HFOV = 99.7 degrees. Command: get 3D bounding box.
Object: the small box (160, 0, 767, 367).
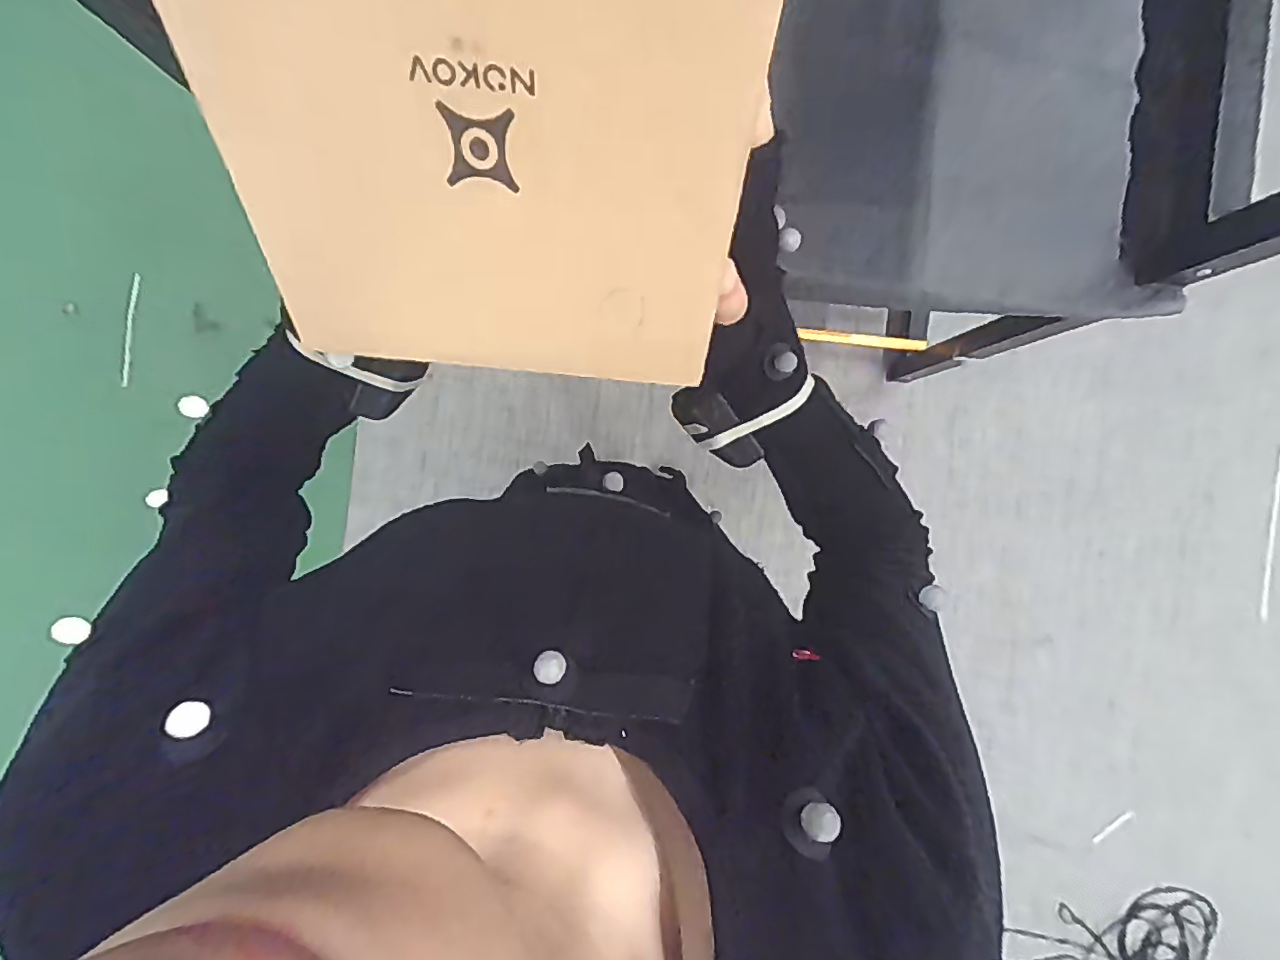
[{"bbox_3d":[-0.046,-0.171,0.215,0.168,0.179,0.176,5,47,-2],"label":"small box"}]
